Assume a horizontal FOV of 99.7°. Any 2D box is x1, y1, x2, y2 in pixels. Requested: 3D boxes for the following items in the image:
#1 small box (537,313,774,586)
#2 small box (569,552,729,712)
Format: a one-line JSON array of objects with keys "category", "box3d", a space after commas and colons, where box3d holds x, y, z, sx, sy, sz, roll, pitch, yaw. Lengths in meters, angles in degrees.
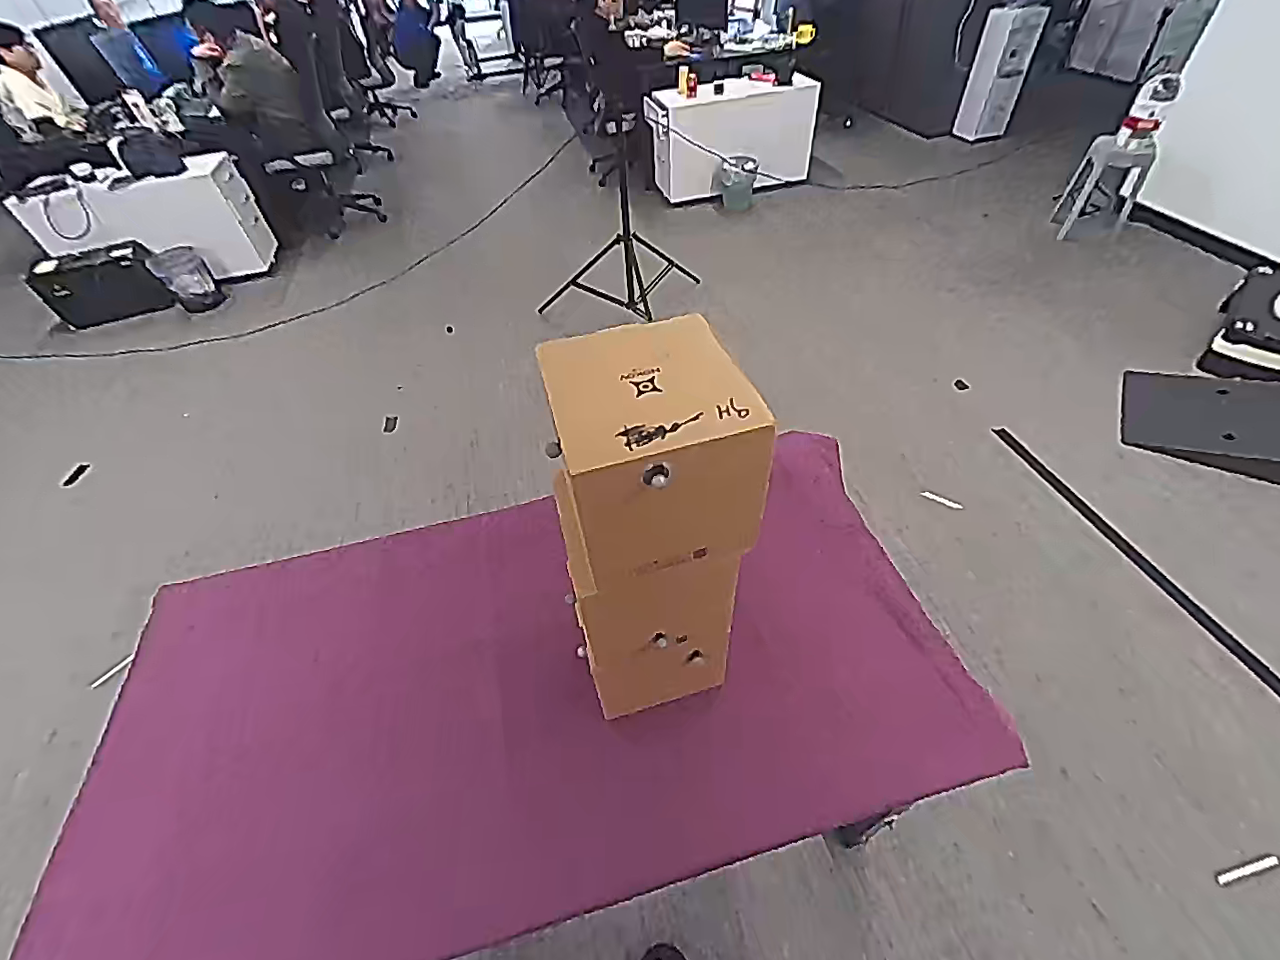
[{"category": "small box", "box3d": [0.008, -0.030, 0.516, 0.168, 0.176, 0.179, -15, 48, -8]}, {"category": "small box", "box3d": [0.010, 0.196, 0.755, 0.179, 0.176, 0.168, -15, 47, -7]}]
